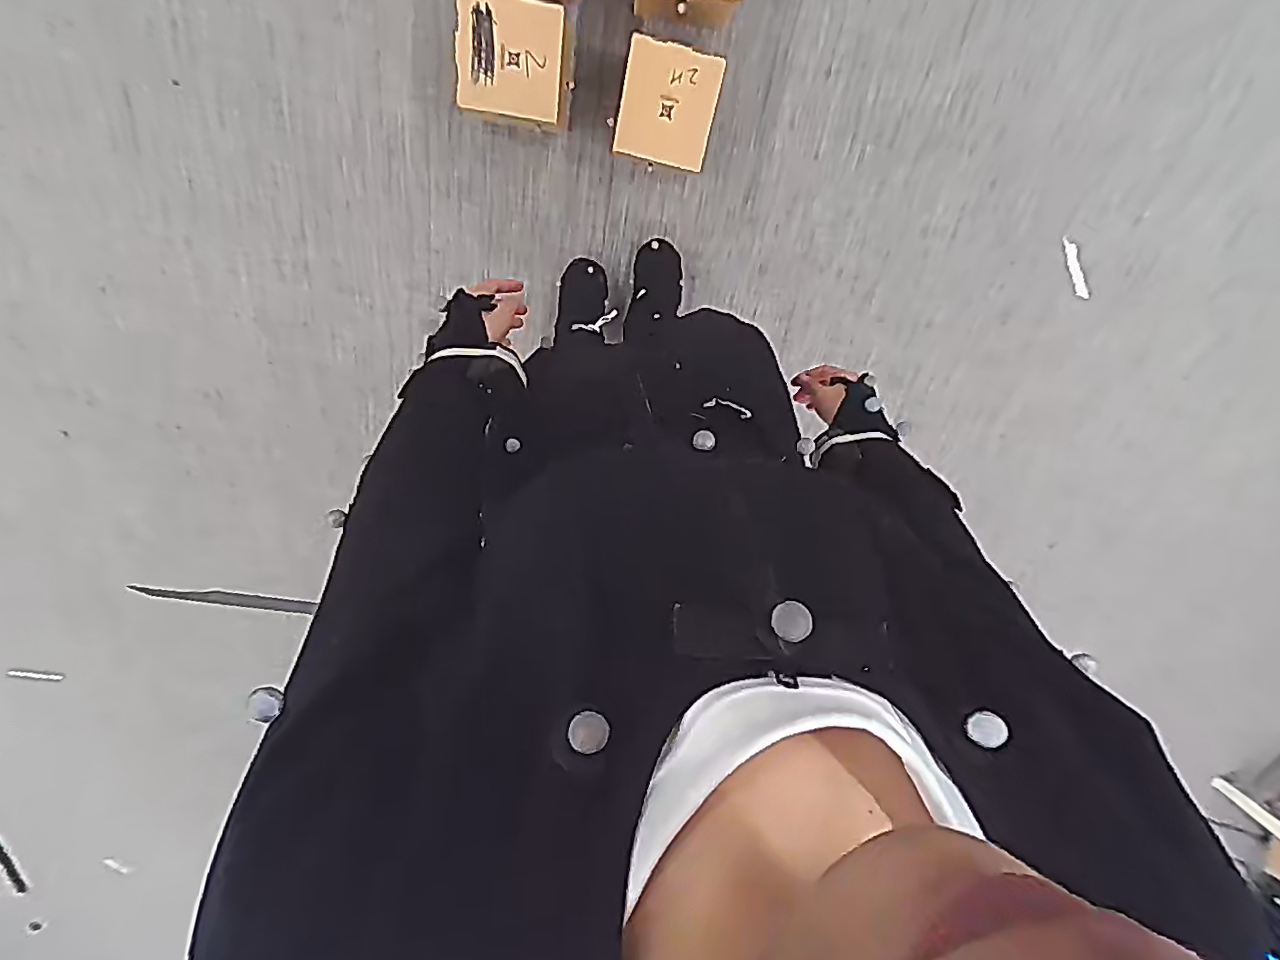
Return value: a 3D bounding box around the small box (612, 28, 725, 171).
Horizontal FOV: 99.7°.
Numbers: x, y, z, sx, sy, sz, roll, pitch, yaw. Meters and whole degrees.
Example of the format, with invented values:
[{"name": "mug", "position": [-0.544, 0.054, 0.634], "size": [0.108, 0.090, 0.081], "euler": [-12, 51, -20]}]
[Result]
[{"name": "small box", "position": [0.046, -0.696, 1.013], "size": [0.168, 0.176, 0.179], "euler": [11, 117, -8]}]
